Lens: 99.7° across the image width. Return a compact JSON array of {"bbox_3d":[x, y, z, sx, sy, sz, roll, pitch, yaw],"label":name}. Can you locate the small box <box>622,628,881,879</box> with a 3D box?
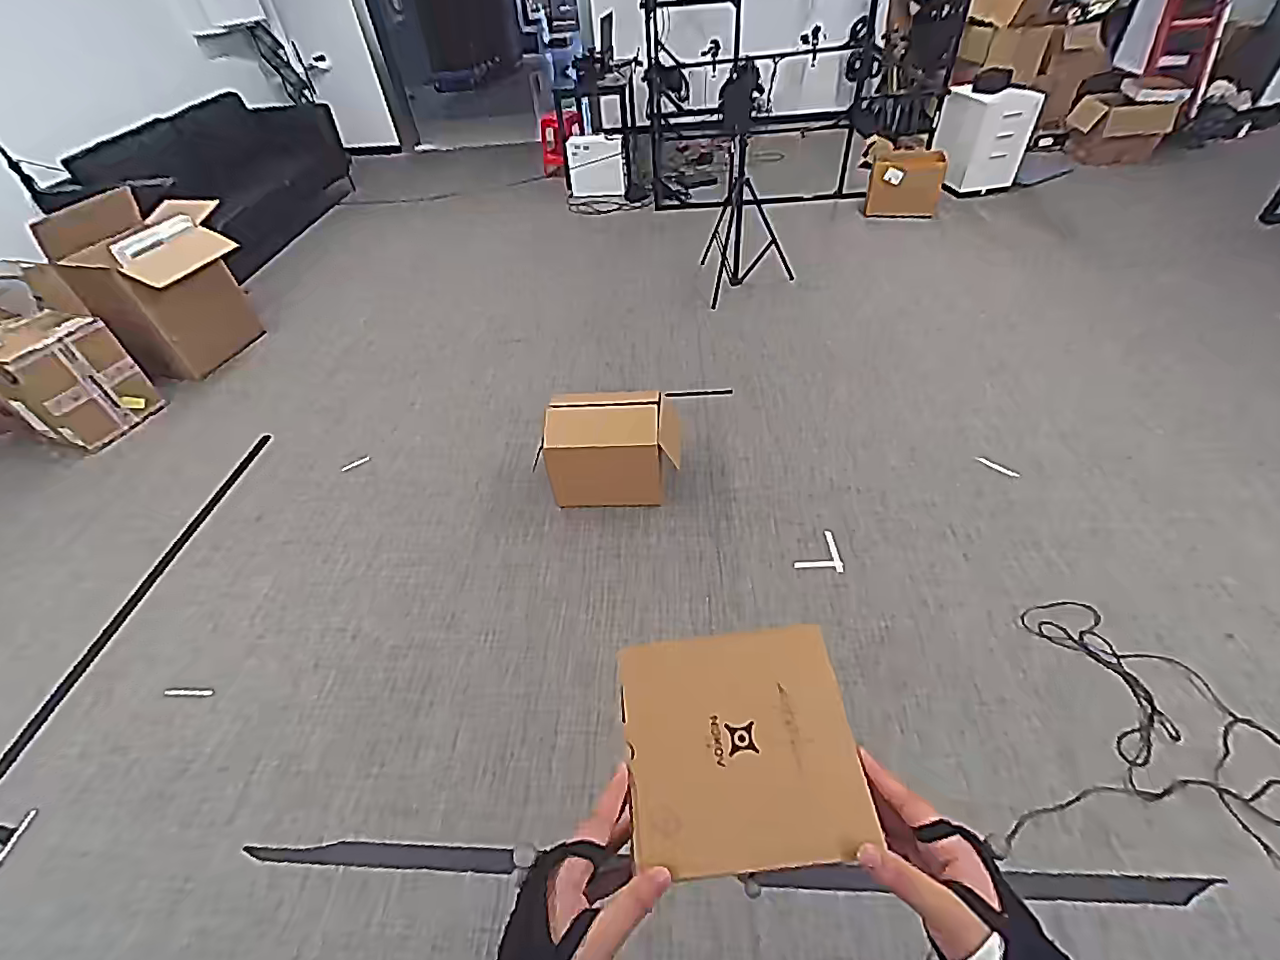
[{"bbox_3d":[0.084,0.251,0.487,0.179,0.176,0.168,-7,54,0],"label":"small box"}]
